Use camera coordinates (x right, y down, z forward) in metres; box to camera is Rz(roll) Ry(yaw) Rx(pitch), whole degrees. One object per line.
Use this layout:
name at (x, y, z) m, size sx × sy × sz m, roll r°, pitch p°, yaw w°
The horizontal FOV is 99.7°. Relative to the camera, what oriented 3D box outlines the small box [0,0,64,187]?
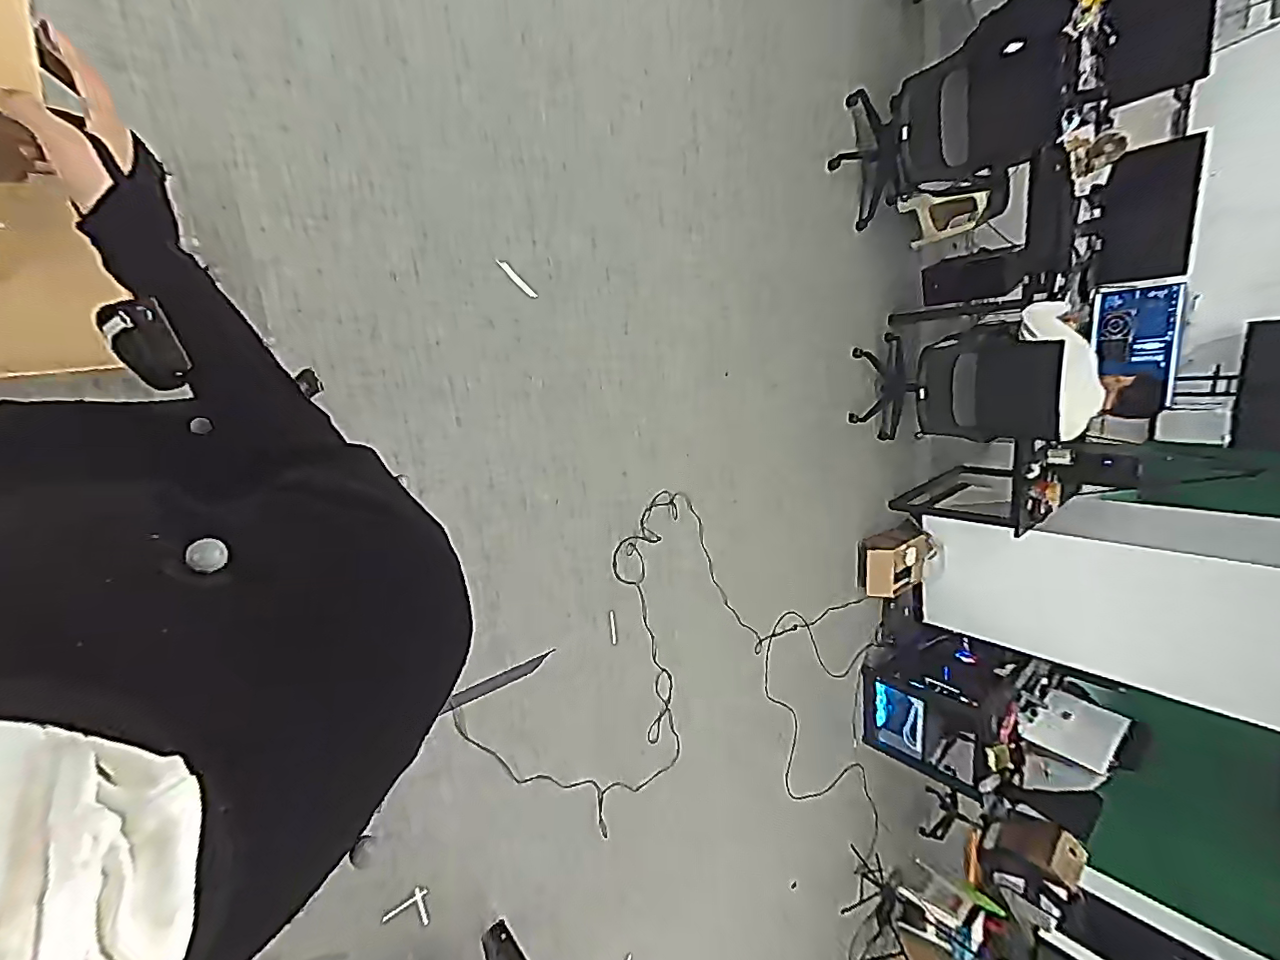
small box at (-0.554, -0.344, 0.385) m, size 0.168 × 0.176 × 0.179 m, roll -11°, pitch 101°, yaw -52°
